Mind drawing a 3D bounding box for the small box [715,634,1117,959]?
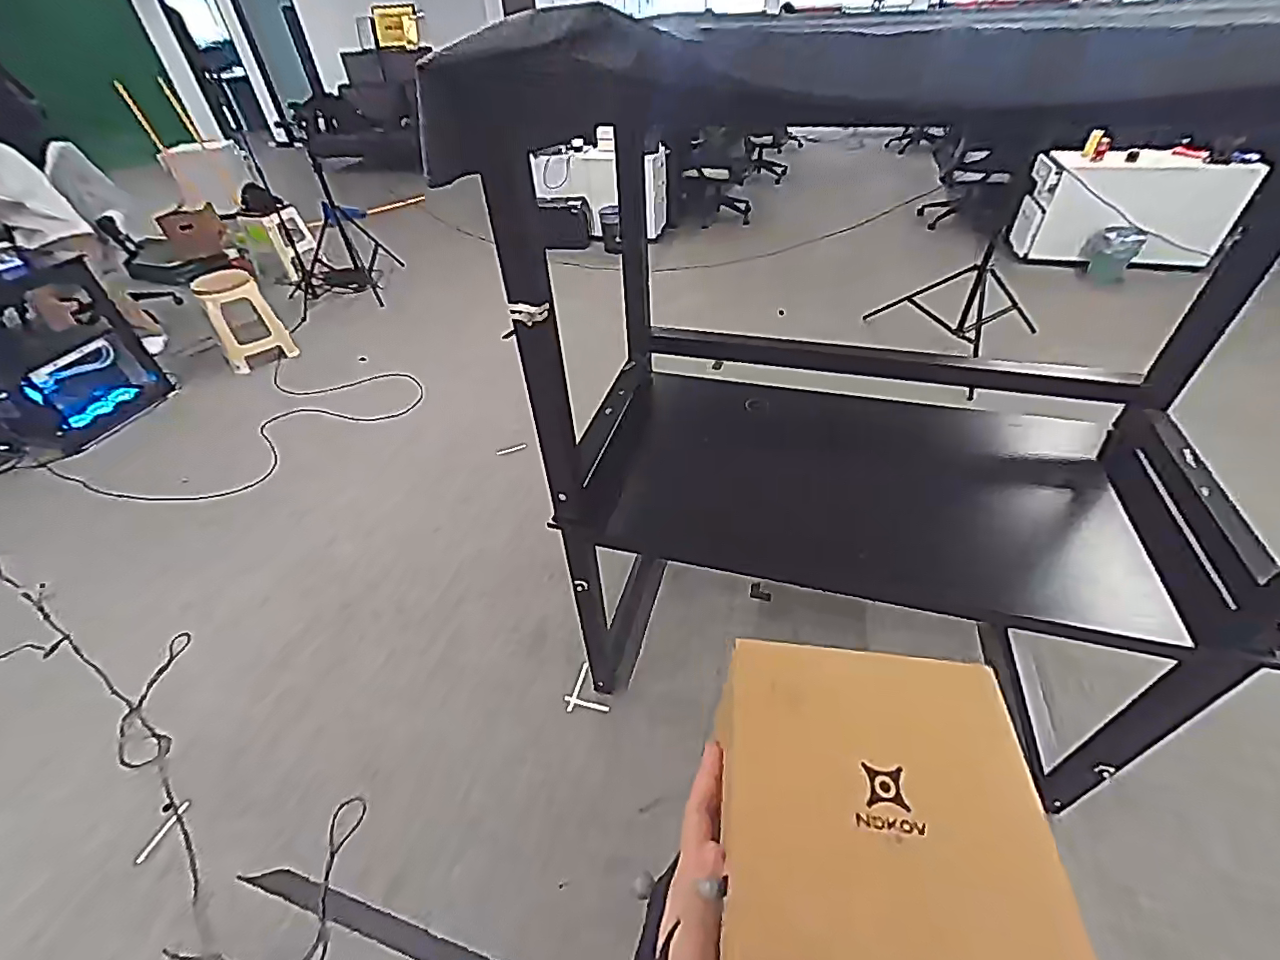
[{"bbox_3d":[0.138,0.226,0.344,0.168,0.176,0.179,4,43,5],"label":"small box"}]
